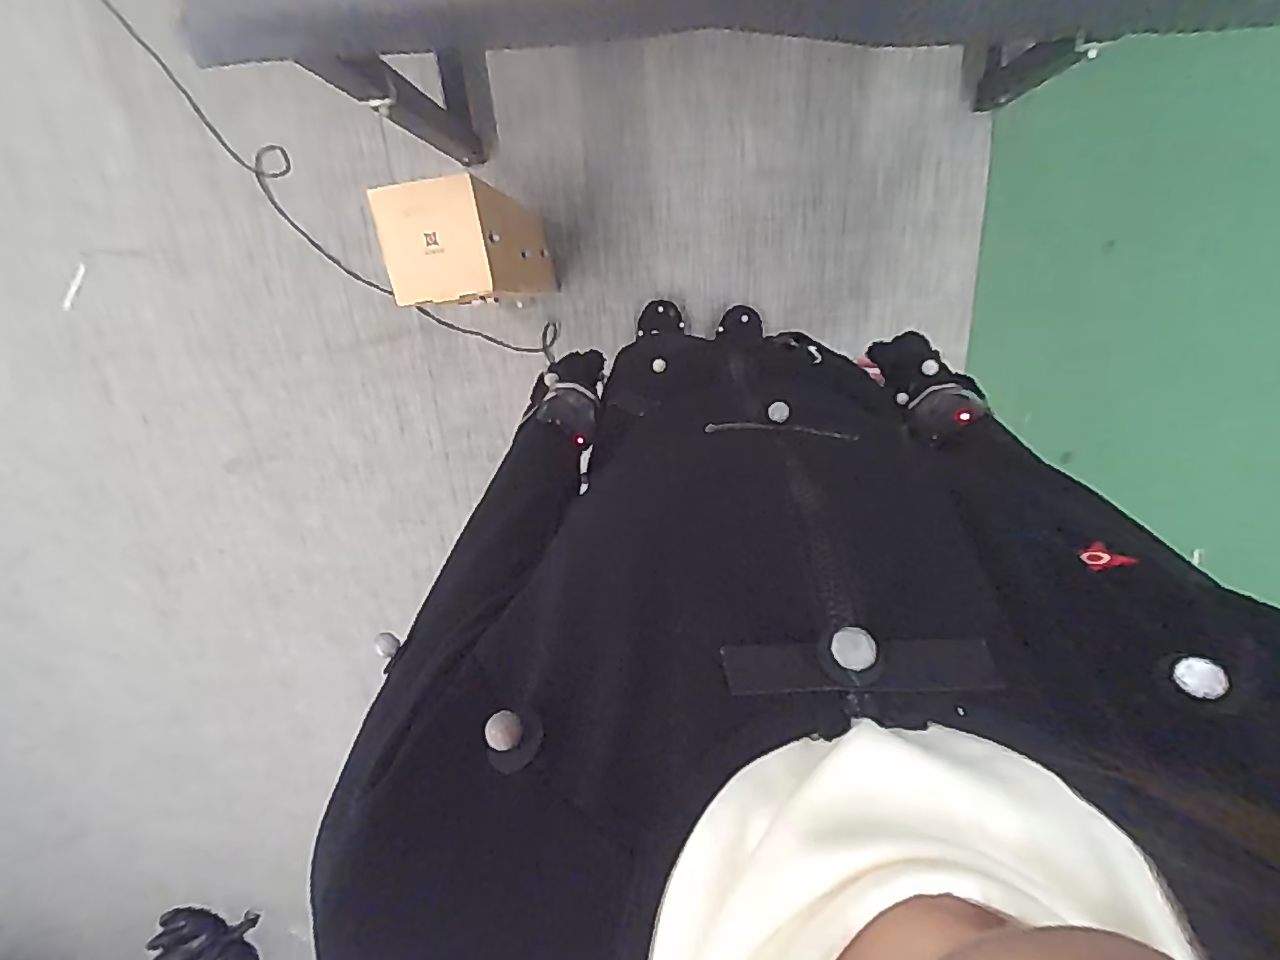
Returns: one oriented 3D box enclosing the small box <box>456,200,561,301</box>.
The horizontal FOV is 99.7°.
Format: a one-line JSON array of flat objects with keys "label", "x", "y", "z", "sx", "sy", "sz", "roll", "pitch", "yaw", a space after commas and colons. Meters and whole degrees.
[{"label": "small box", "x": -0.290, "y": -0.512, "z": 1.228, "sx": 0.168, "sy": 0.176, "sz": 0.179, "roll": -10, "pitch": 109, "yaw": 7}]
